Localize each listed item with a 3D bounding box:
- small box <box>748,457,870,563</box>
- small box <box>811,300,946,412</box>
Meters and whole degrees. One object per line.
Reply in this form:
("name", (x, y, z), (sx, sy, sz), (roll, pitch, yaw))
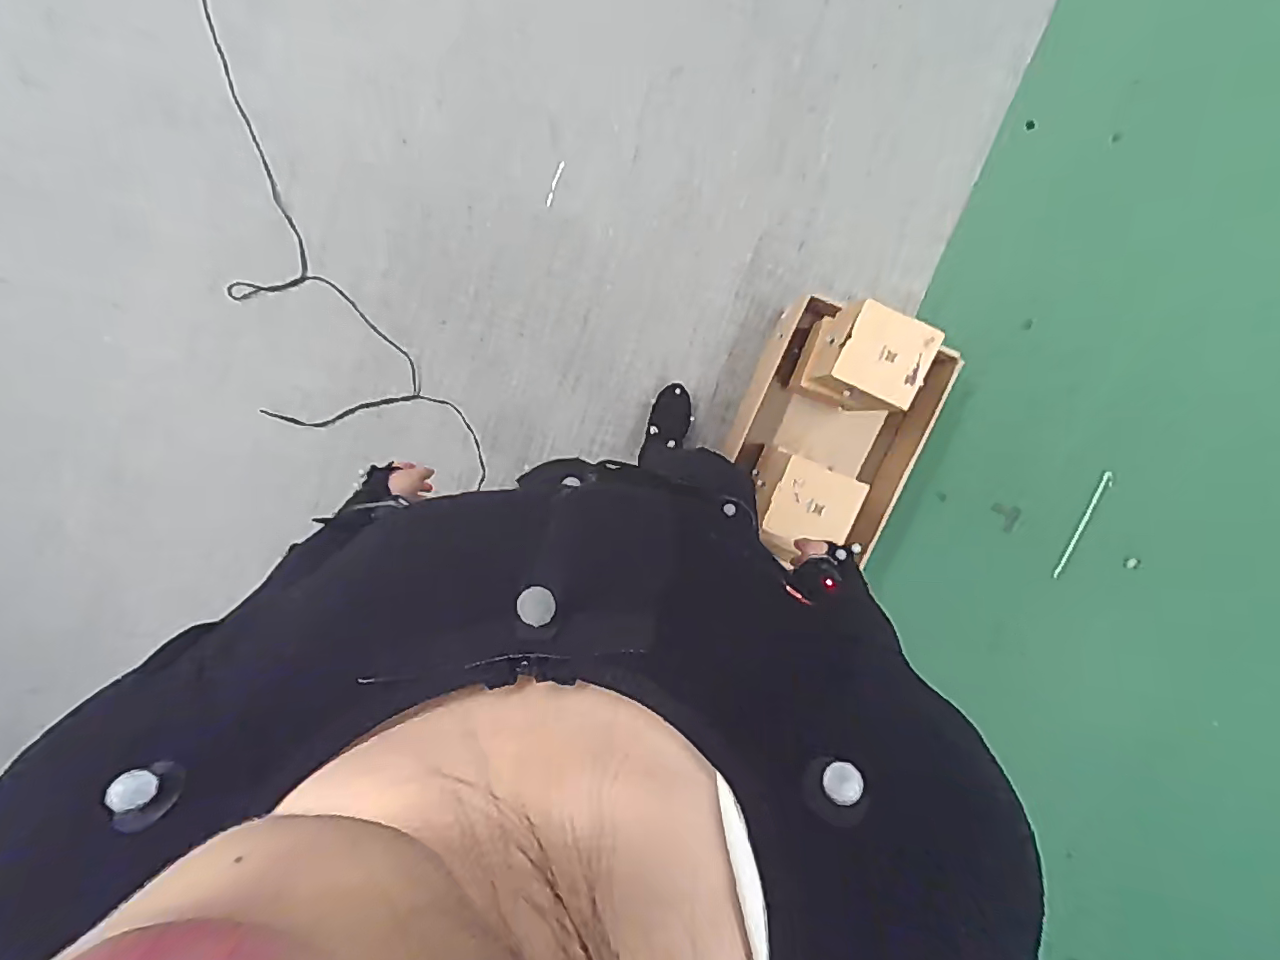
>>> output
("small box", (0.356, 0.055, 1.171), (0.179, 0.176, 0.168), (23, 96, -1))
("small box", (0.483, -0.248, 1.130), (0.179, 0.176, 0.168), (25, 97, -1))
